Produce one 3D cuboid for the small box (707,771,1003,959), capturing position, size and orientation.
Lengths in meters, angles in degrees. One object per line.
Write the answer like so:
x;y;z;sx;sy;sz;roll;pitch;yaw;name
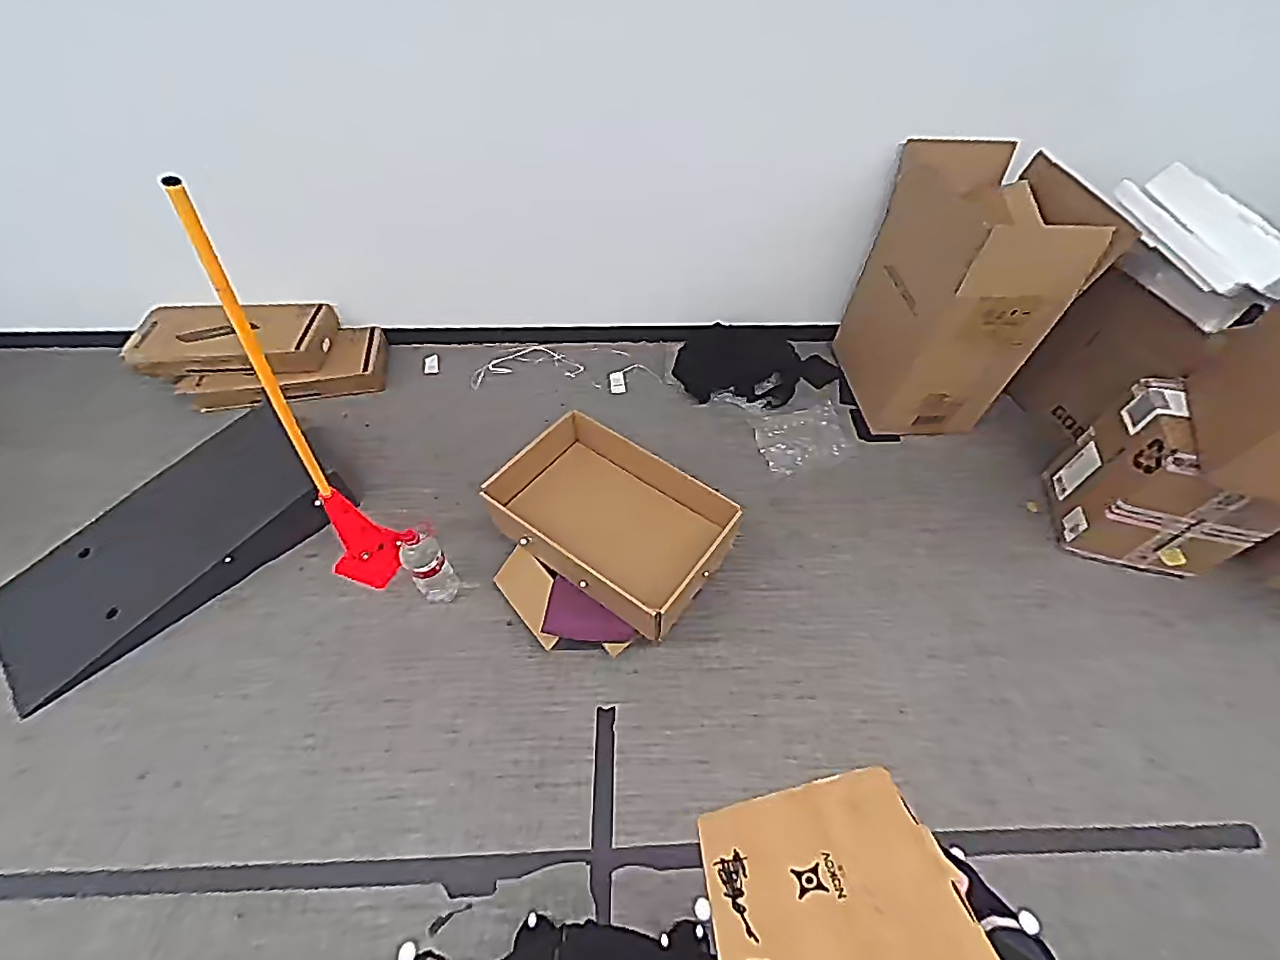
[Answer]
0.167;0.382;0.436;0.179;0.176;0.168;-17;14;3;small box
